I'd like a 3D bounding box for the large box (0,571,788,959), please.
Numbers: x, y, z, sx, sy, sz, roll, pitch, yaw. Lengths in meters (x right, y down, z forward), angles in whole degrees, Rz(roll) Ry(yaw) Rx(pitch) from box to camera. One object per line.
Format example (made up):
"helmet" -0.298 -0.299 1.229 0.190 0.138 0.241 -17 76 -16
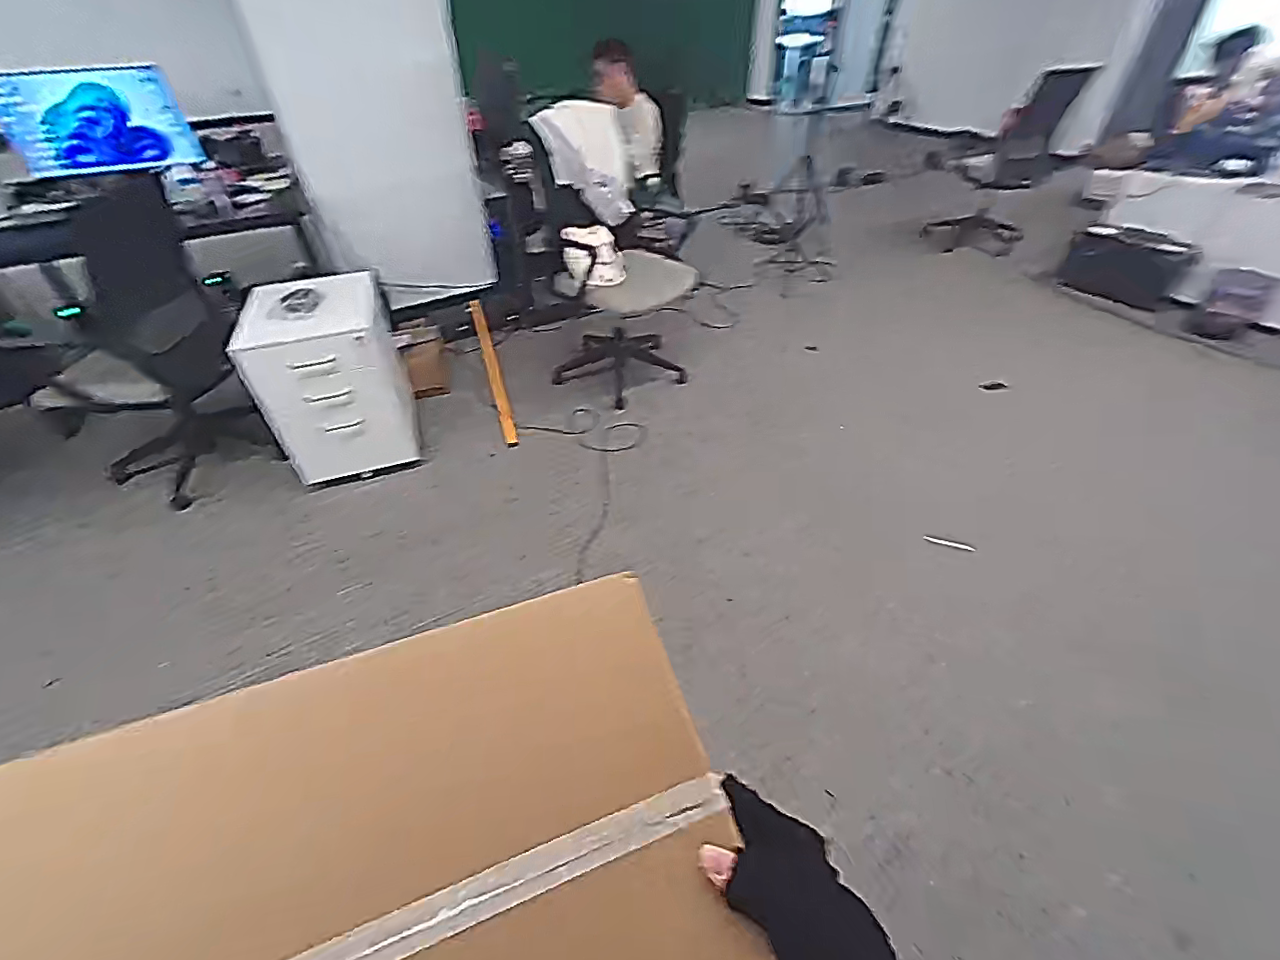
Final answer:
"large box" -0.151 0.322 0.419 0.408 0.320 0.320 -14 61 -15
